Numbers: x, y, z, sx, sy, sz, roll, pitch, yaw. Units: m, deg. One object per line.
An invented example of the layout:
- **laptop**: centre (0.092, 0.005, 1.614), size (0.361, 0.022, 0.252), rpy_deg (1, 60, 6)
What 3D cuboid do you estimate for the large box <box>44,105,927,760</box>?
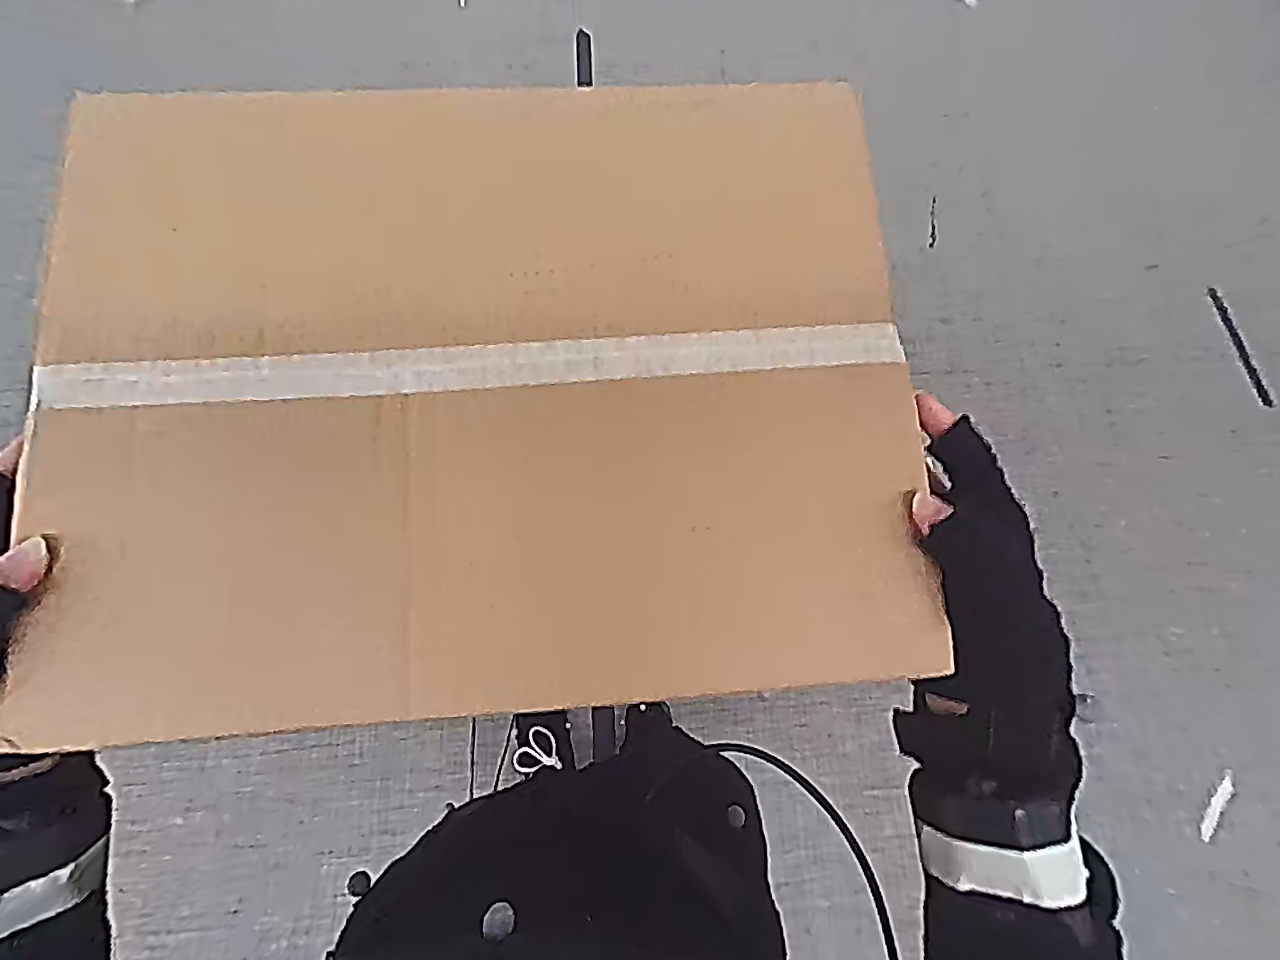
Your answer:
- **large box**: centre (-0.077, -0.020, 0.414), size (0.408, 0.320, 0.320), rpy_deg (-4, 80, -3)
